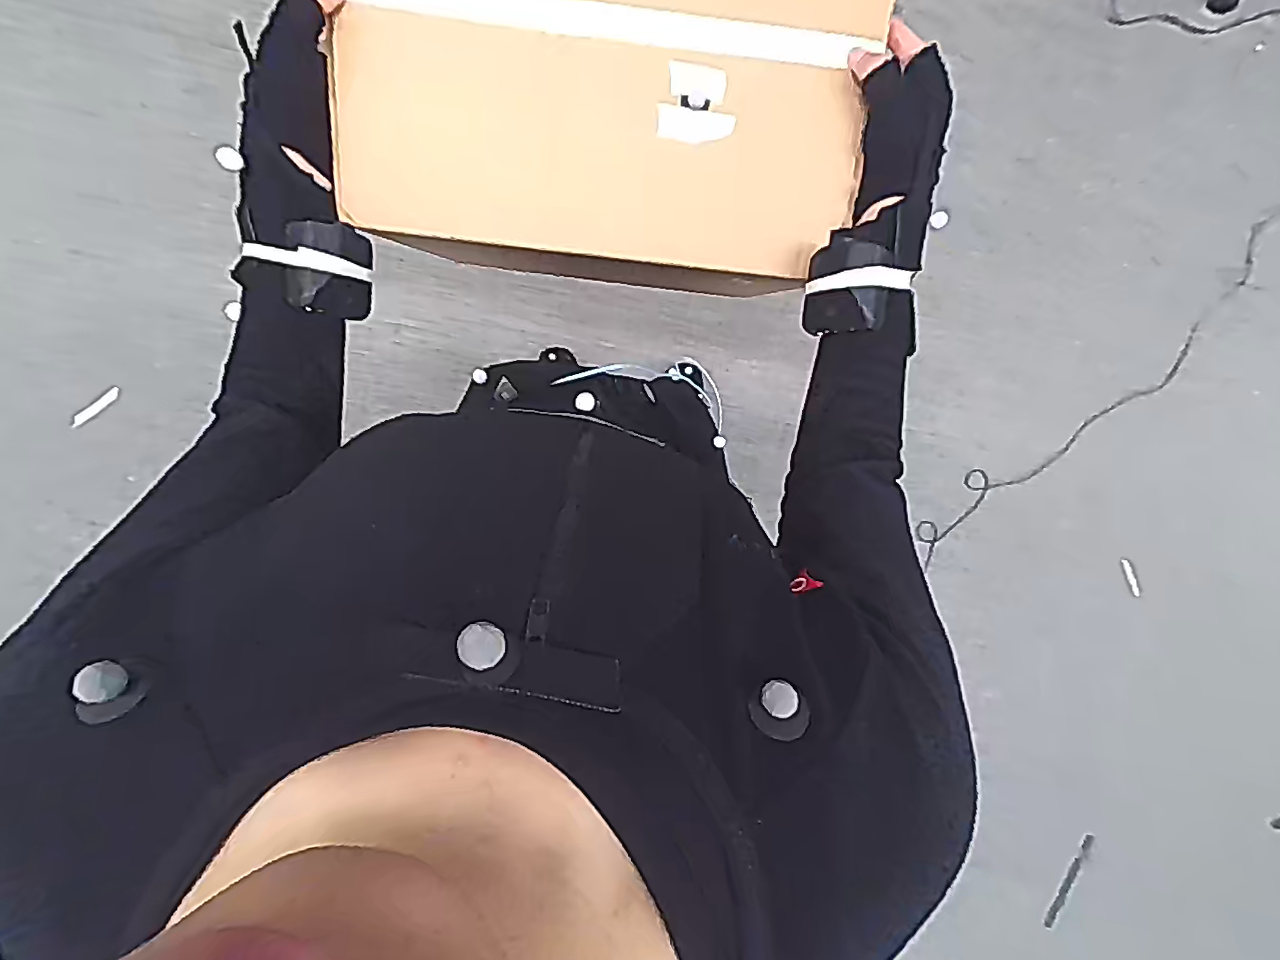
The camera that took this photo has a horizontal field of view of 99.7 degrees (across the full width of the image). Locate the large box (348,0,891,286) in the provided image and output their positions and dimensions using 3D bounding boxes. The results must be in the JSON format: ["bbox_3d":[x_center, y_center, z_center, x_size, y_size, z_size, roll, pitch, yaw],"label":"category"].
[{"bbox_3d":[-0.022,-0.382,0.544,0.408,0.320,0.320,5,107,-5],"label":"large box"}]
